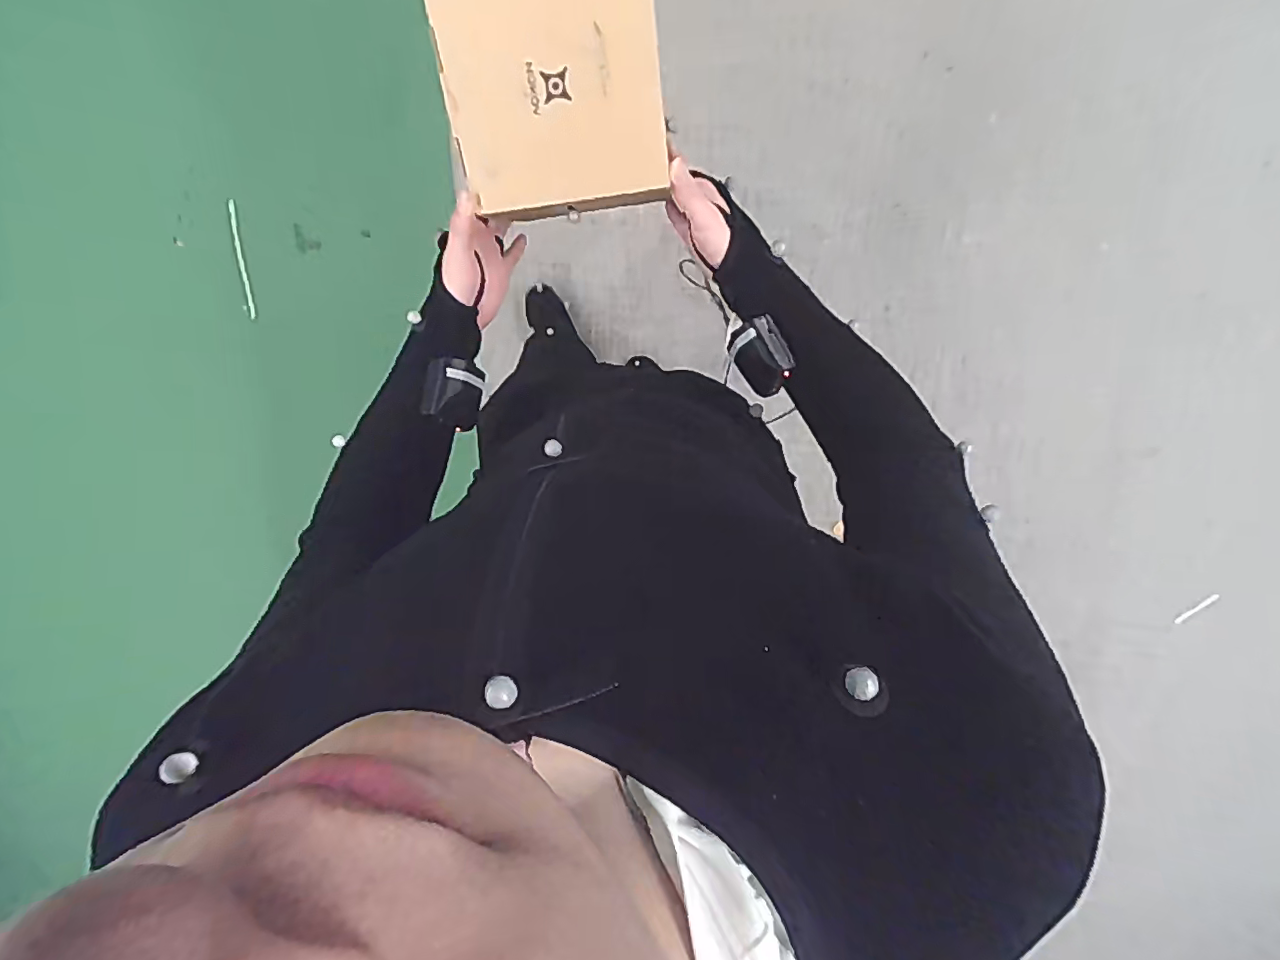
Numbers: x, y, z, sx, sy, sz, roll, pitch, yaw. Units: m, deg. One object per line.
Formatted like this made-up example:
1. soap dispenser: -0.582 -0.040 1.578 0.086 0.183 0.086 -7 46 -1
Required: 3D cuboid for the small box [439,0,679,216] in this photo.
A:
1. small box: -0.056 -0.345 0.502 0.179 0.176 0.168 -3 115 5
